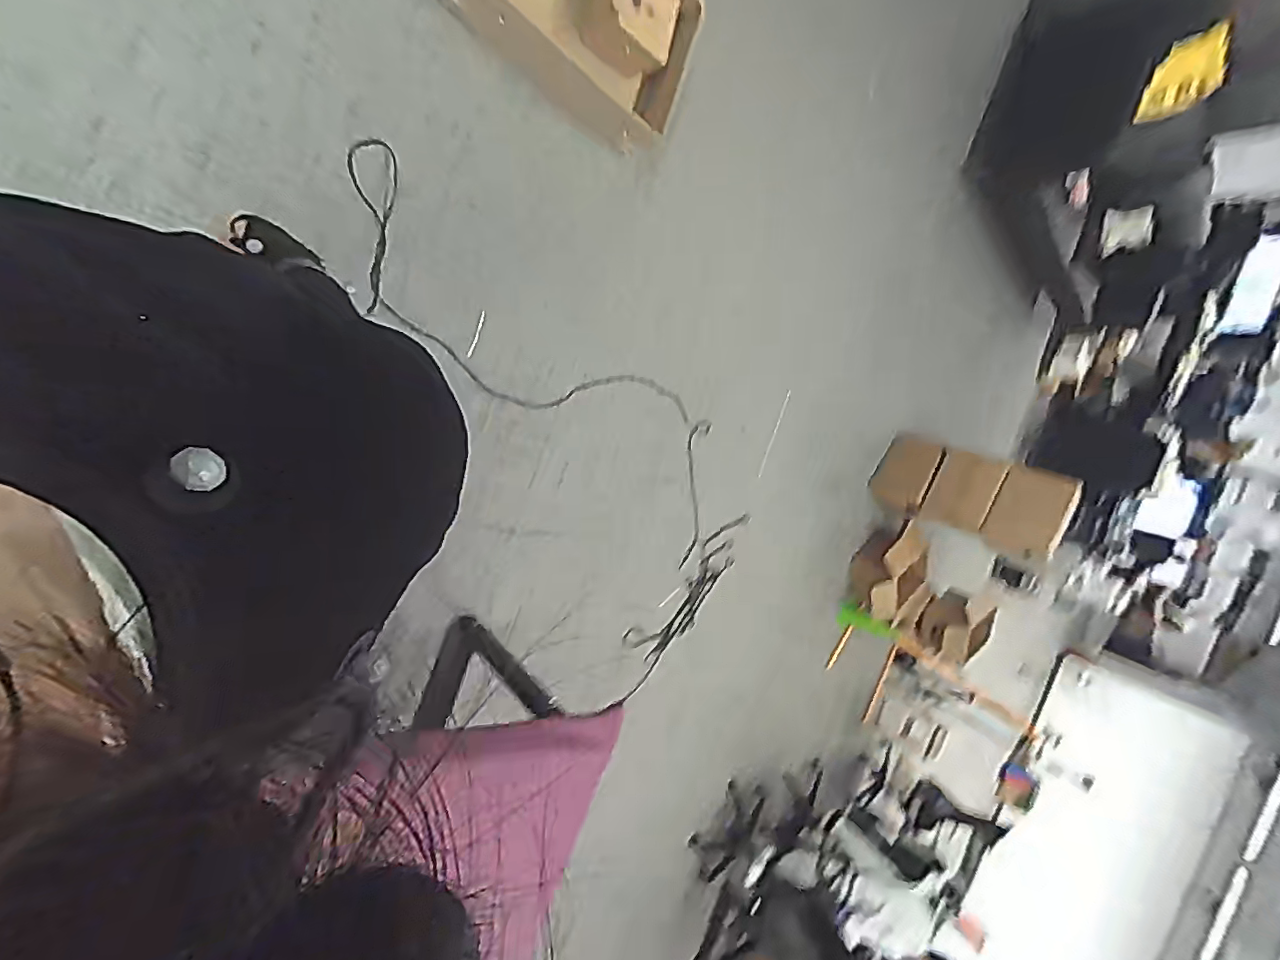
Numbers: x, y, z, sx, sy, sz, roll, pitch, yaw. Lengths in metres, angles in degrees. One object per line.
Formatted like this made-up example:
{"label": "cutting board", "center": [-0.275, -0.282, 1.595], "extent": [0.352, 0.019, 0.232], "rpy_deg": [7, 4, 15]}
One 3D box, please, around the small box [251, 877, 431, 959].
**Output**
{"label": "small box", "center": [-0.384, 0.652, 0.683], "extent": [0.179, 0.176, 0.168], "rpy_deg": [18, 94, -42]}

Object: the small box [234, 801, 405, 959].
{"label": "small box", "center": [-0.483, 0.613, 0.807], "extent": [0.168, 0.176, 0.179], "rpy_deg": [18, 95, -42]}

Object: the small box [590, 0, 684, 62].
{"label": "small box", "center": [-0.007, -1.253, 1.429], "extent": [0.179, 0.176, 0.168], "rpy_deg": [6, 103, -41]}
